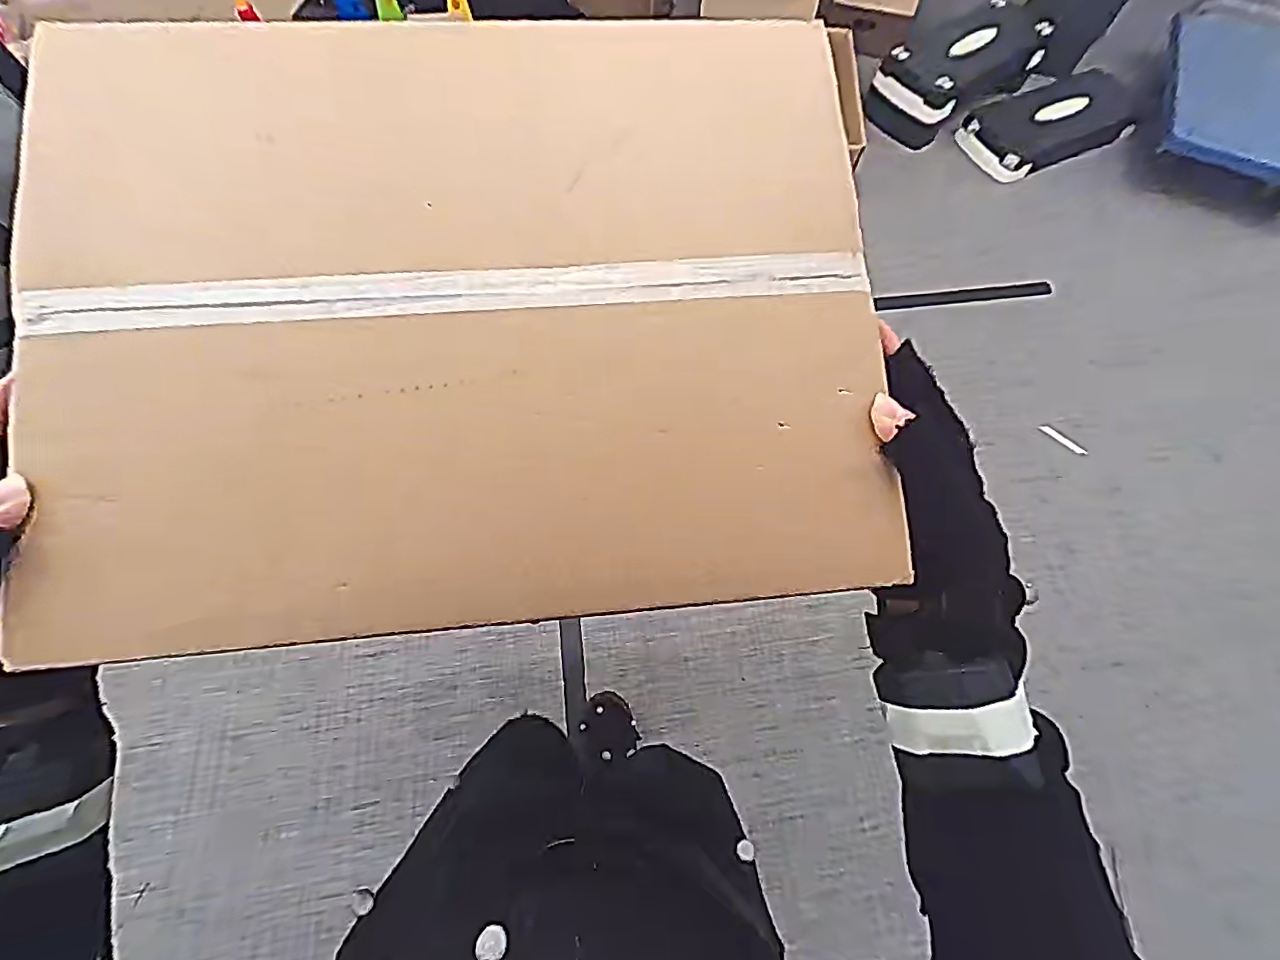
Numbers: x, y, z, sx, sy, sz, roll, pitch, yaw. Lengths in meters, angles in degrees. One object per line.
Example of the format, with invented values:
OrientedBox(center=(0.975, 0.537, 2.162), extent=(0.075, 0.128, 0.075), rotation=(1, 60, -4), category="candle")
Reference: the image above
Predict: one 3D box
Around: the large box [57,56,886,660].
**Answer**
OrientedBox(center=(-0.095, -0.063, 0.430), extent=(0.408, 0.320, 0.320), rotation=(-5, 83, -5), category="large box")
